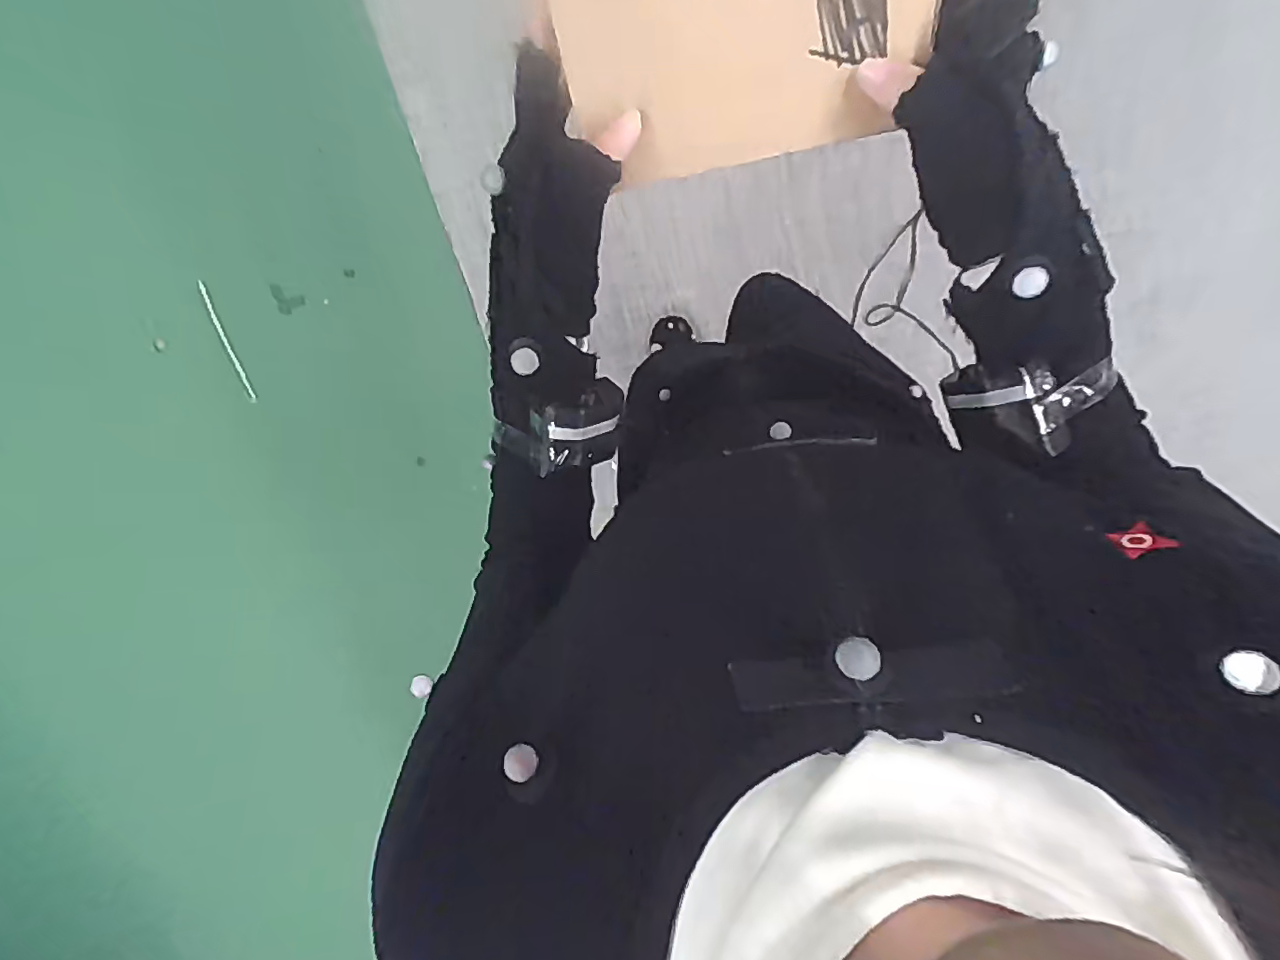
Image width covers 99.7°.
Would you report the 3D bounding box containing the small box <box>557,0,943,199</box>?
[{"bbox_3d":[0.045,-0.286,0.296,0.179,0.176,0.168,-11,132,9],"label":"small box"}]
